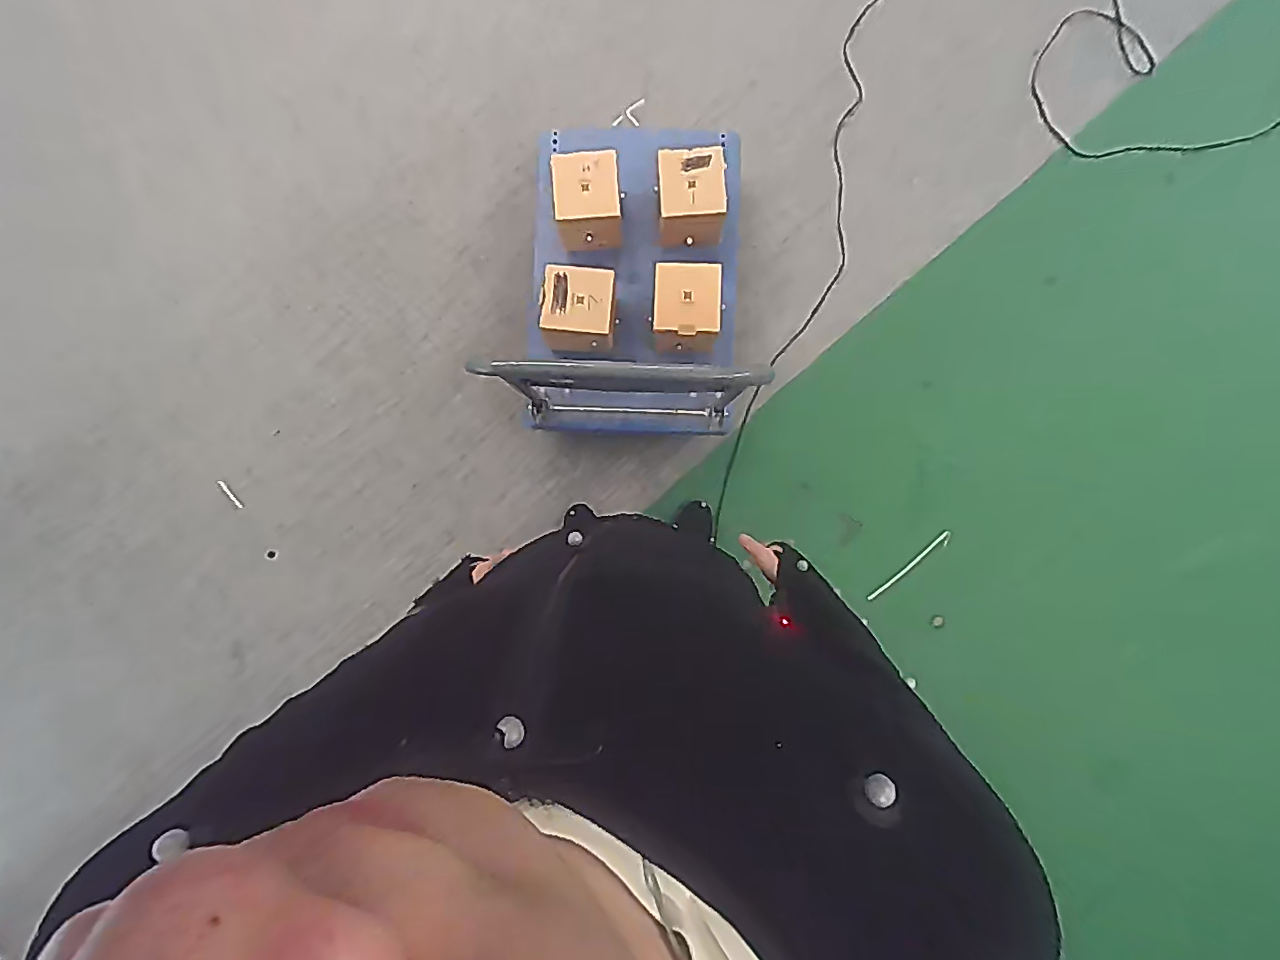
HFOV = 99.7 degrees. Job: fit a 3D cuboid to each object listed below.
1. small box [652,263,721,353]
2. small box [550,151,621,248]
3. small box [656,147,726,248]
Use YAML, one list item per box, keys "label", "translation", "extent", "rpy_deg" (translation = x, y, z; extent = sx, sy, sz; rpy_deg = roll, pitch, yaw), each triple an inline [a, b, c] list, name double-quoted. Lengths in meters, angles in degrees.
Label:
- label: "small box"
  translation: [0.117, -0.445, 1.418]
  extent: [0.168, 0.176, 0.179]
  rpy_deg: [1, 88, 1]
- label: "small box"
  translation: [-0.140, -0.734, 1.435]
  extent: [0.168, 0.176, 0.179]
  rpy_deg: [-4, 87, 0]
- label: "small box"
  translation: [0.130, -0.741, 1.431]
  extent: [0.168, 0.176, 0.179]
  rpy_deg: [-3, 88, 1]
